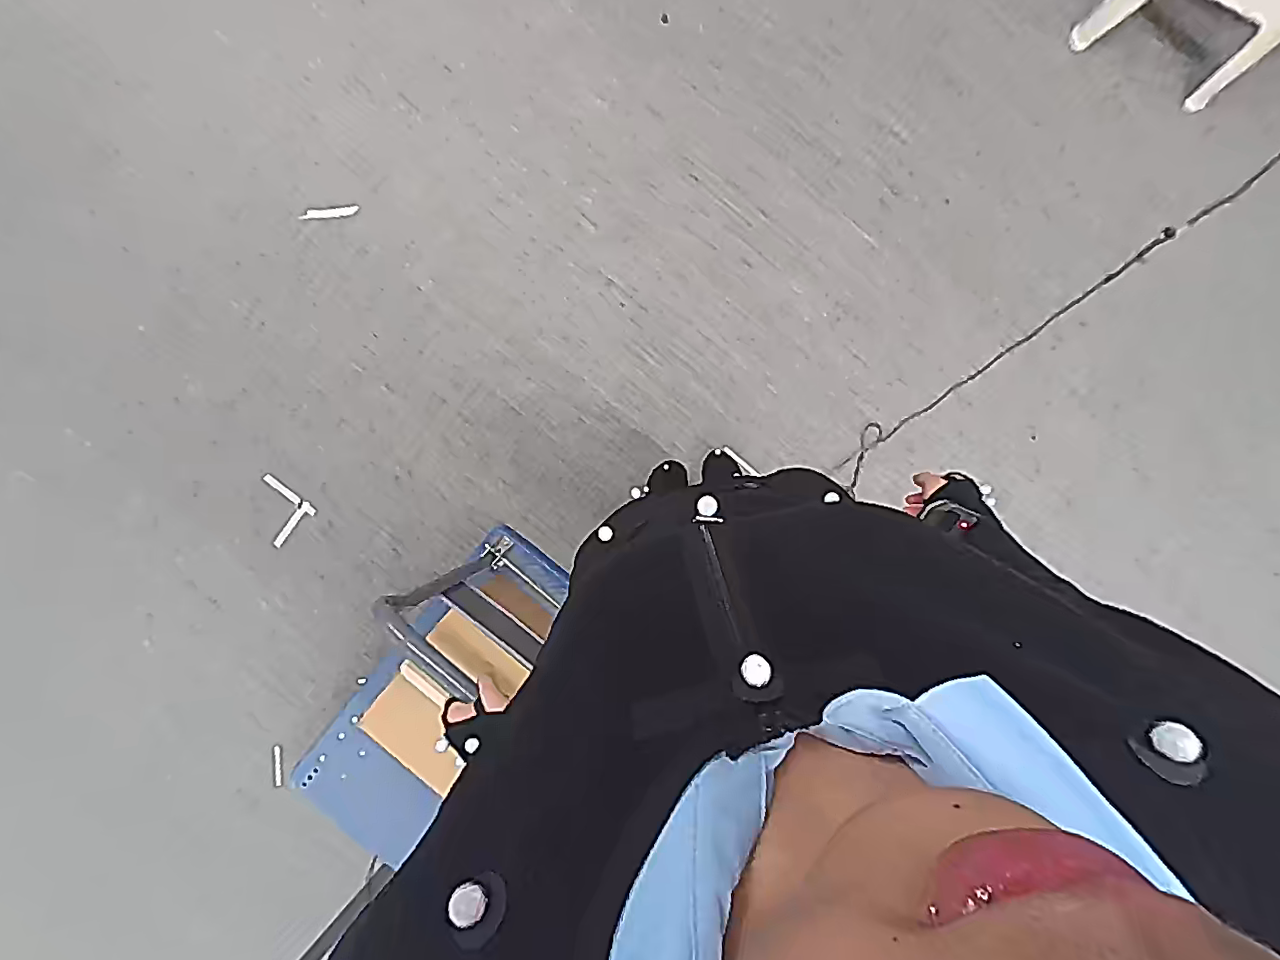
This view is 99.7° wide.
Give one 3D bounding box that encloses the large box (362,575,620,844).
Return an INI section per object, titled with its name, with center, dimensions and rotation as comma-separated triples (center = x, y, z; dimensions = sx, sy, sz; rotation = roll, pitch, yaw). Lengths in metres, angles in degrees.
[large box]
center = -0.300, 0.481, 1.215
dimensions = 0.408, 0.320, 0.320
rotation = 40, 93, 1
